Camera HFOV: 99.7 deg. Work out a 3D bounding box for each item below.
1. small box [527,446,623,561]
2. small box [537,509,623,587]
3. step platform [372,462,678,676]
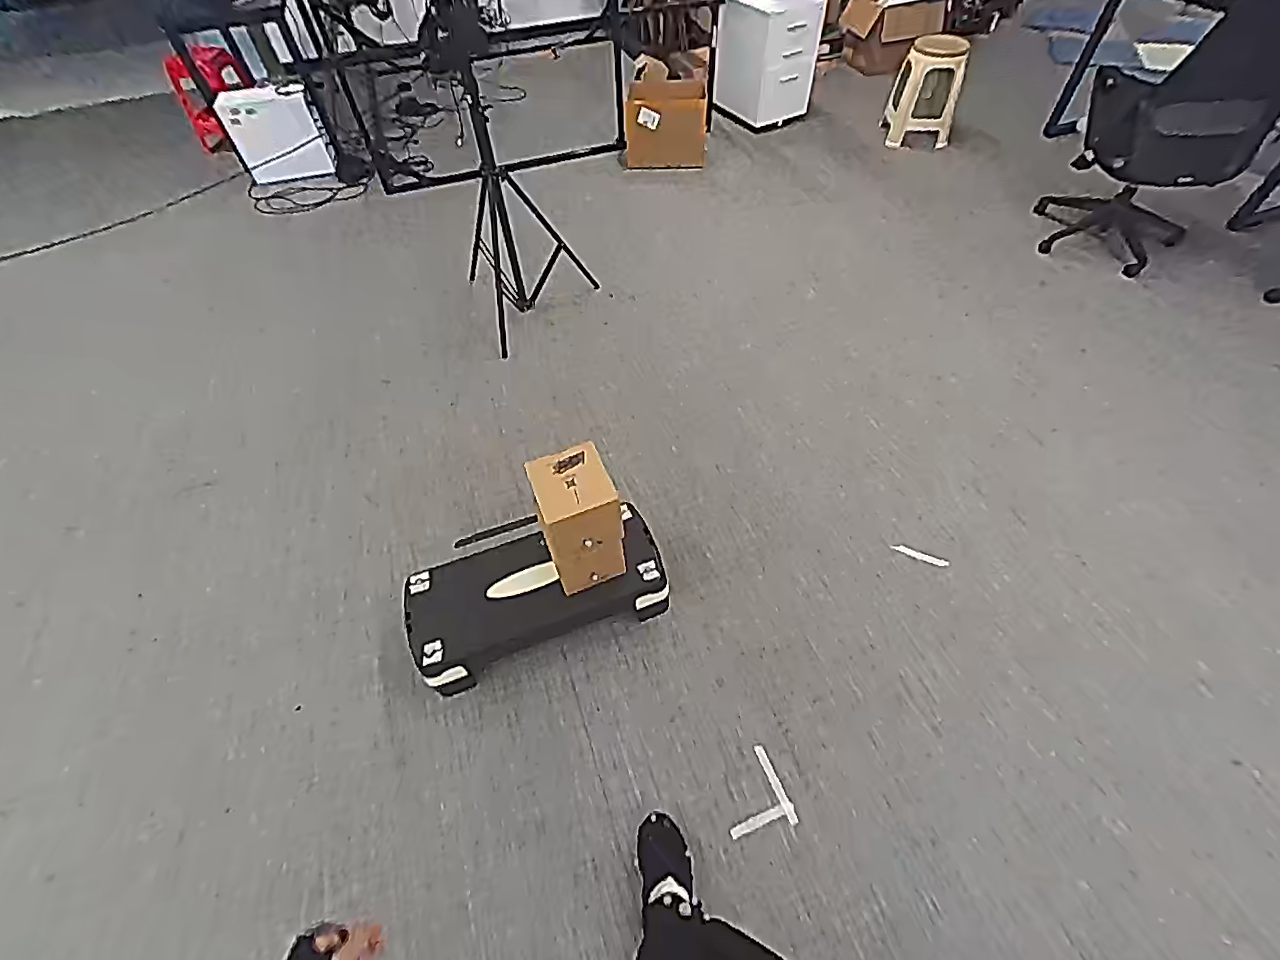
[{"bbox_3d":[-0.147,0.057,1.249,0.168,0.176,0.179,-20,56,-11],"label":"small box"},{"bbox_3d":[-0.148,0.160,1.377,0.168,0.176,0.179,-20,55,-11],"label":"small box"},{"bbox_3d":[-0.258,0.208,1.302,0.684,0.204,0.286,-18,54,-12],"label":"step platform"}]
